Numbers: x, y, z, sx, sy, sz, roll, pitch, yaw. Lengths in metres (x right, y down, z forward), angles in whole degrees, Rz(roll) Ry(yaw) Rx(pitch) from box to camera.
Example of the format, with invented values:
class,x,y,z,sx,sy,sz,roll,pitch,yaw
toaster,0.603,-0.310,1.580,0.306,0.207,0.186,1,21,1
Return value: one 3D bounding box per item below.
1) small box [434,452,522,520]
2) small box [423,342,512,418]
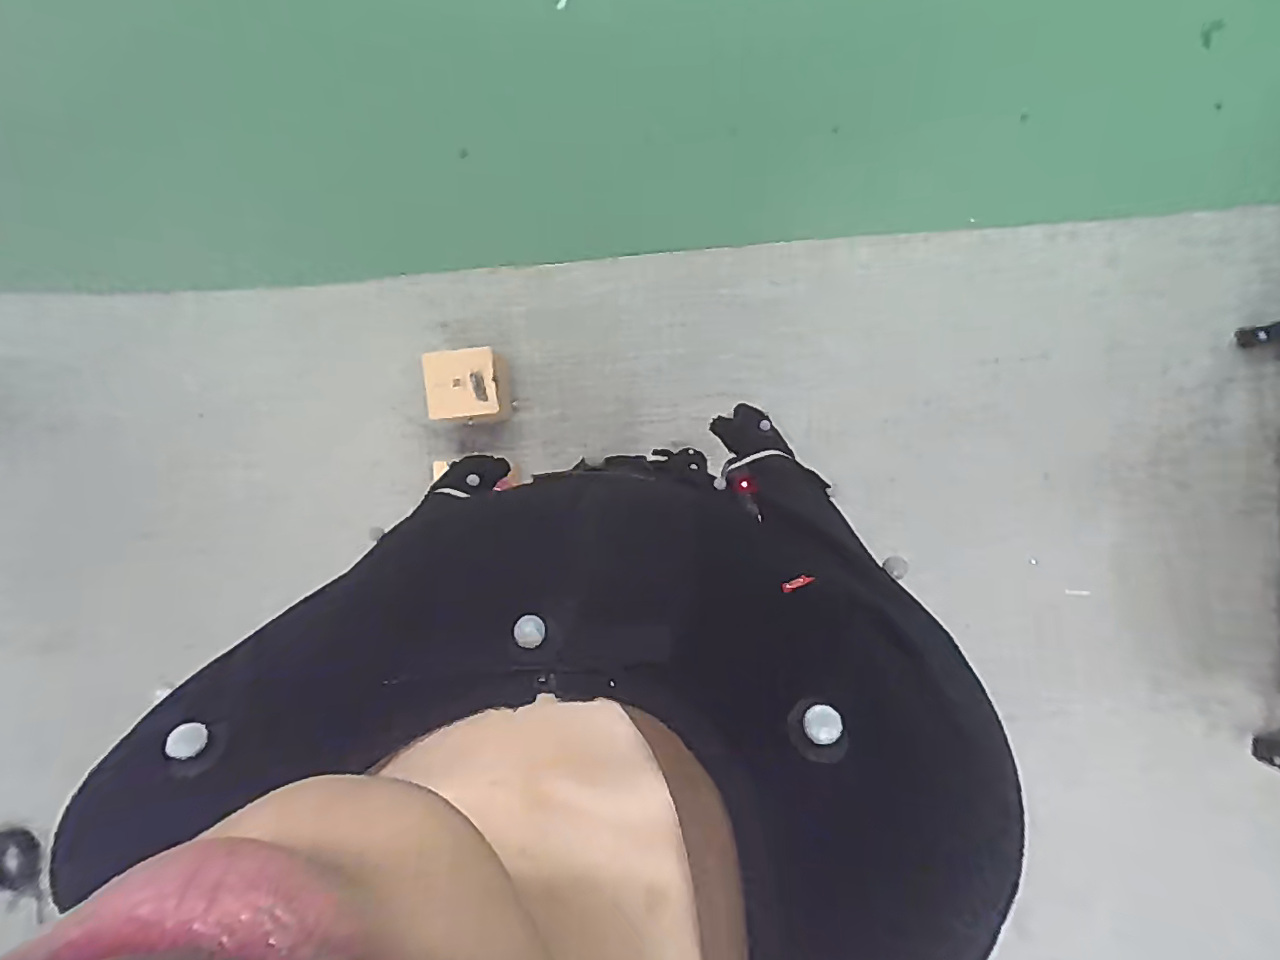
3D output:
class,x,y,z,sx,sy,sz,roll,pitch,yaw
small box,-0.418,0.014,1.413,0.179,0.176,0.168,-3,92,1
small box,-0.437,-0.254,1.401,0.179,0.176,0.168,-6,93,2
